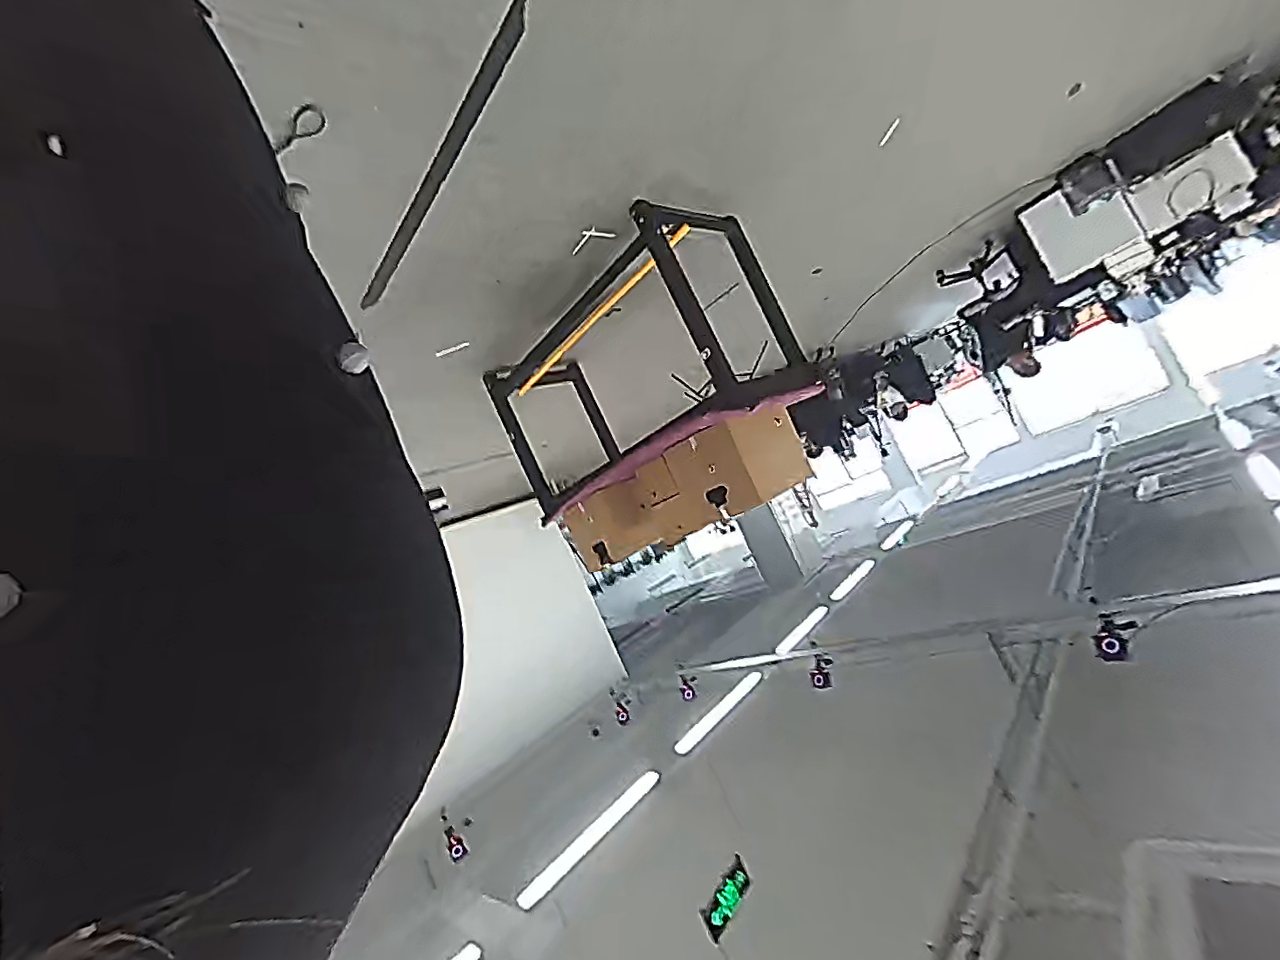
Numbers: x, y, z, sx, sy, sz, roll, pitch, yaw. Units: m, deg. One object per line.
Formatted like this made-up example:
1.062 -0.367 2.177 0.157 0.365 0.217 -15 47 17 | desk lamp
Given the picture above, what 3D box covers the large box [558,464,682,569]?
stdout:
-0.092 0.161 2.468 0.408 0.320 0.320 -22 176 -46 | large box
